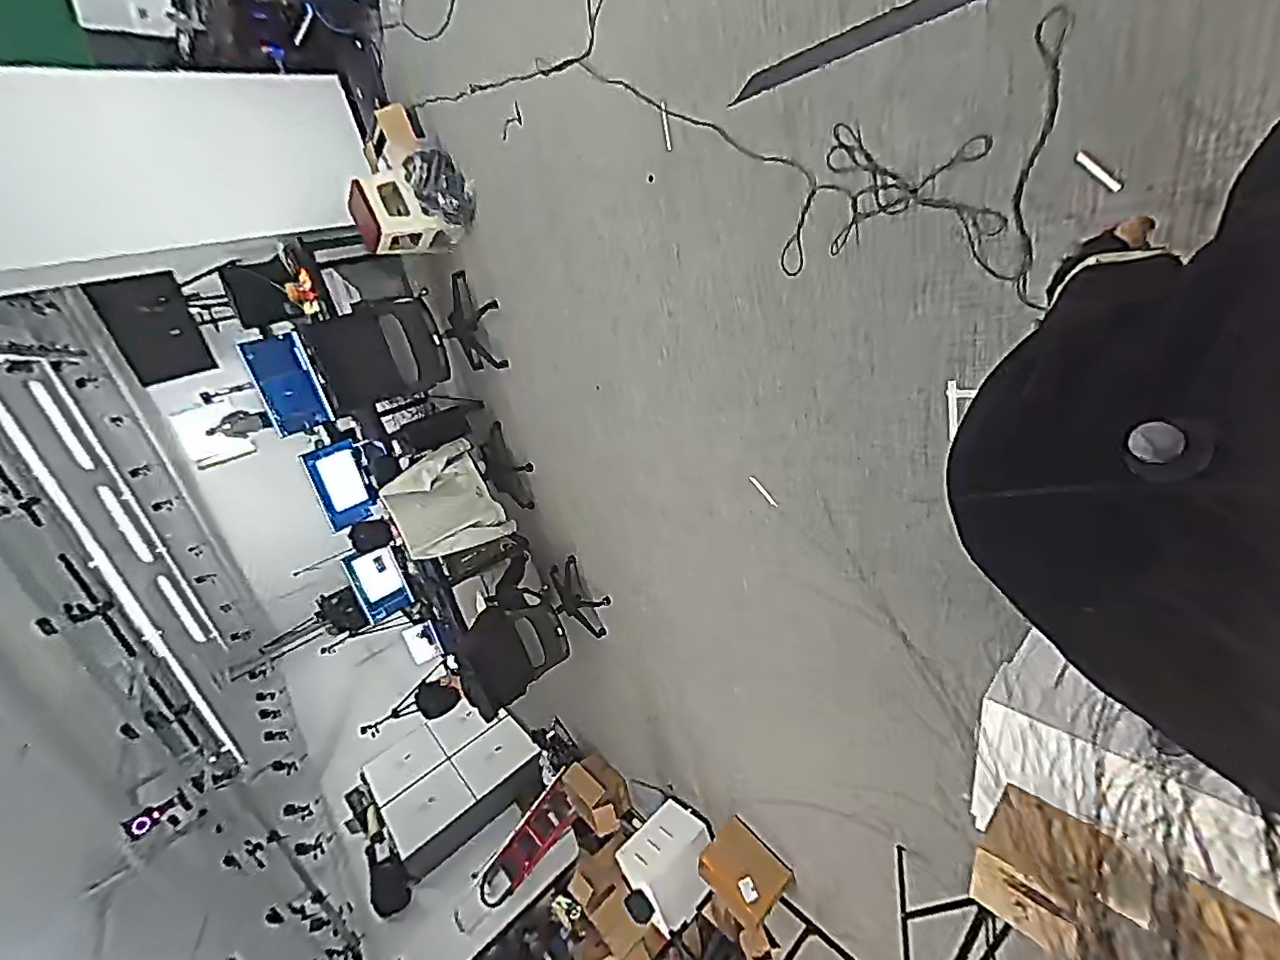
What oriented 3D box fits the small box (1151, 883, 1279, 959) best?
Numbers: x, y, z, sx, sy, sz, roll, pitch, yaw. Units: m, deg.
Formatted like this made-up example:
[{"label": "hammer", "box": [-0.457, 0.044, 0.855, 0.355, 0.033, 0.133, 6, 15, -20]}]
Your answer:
[{"label": "small box", "box": [0.918, 0.785, 0.836, 0.168, 0.176, 0.179, 21, 130, 46]}]
